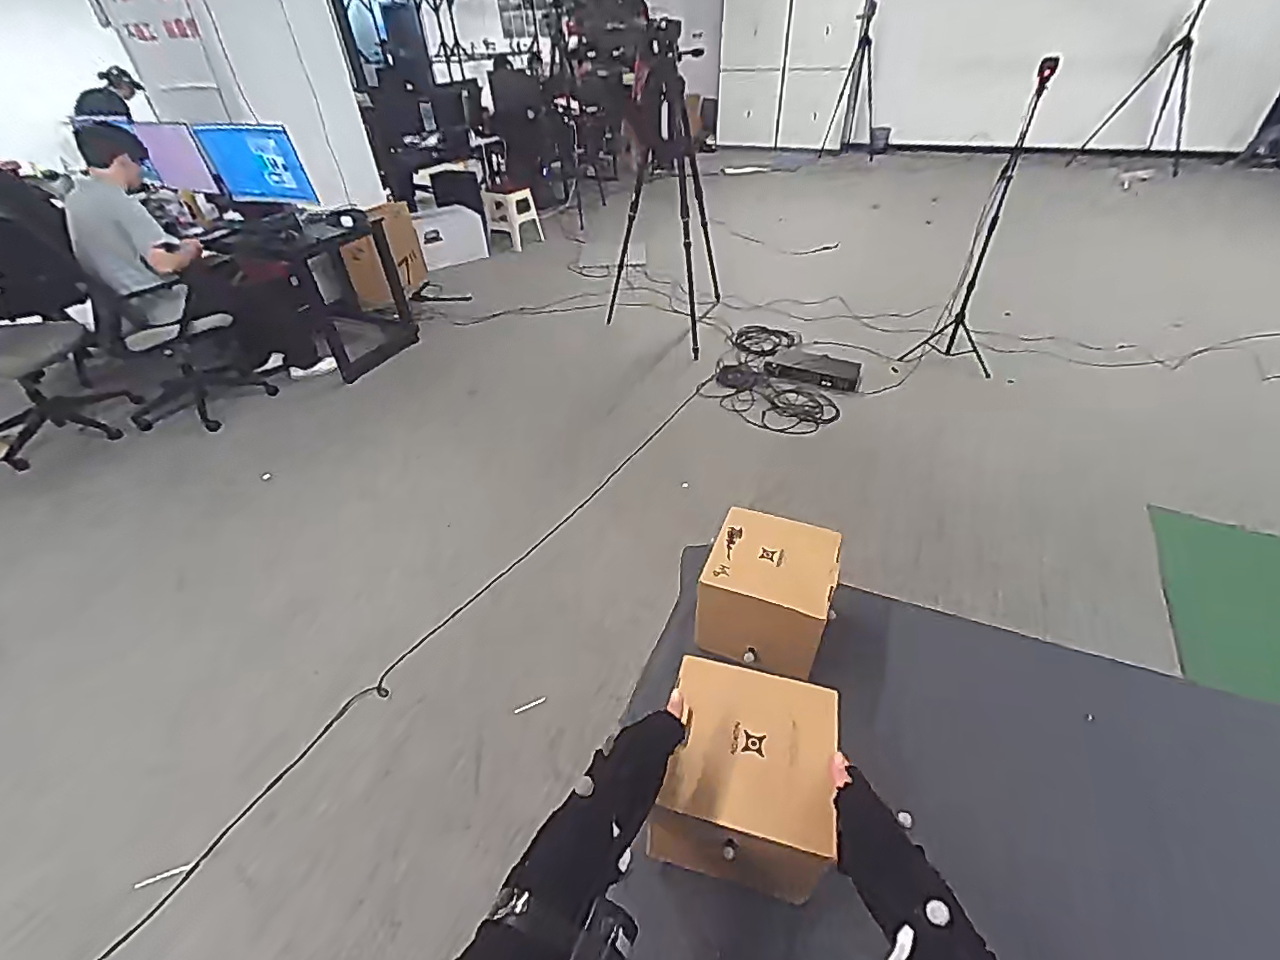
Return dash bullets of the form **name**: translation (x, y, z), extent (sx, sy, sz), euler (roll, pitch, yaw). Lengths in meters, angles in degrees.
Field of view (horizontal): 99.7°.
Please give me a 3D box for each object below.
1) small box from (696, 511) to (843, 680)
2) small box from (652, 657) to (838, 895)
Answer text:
- **small box**: translation (0.195, 0.181, 0.838), extent (0.179, 0.176, 0.168), euler (15, 43, 19)
- **small box**: translation (0.114, 0.333, 0.609), extent (0.179, 0.176, 0.168), euler (11, 42, 10)
